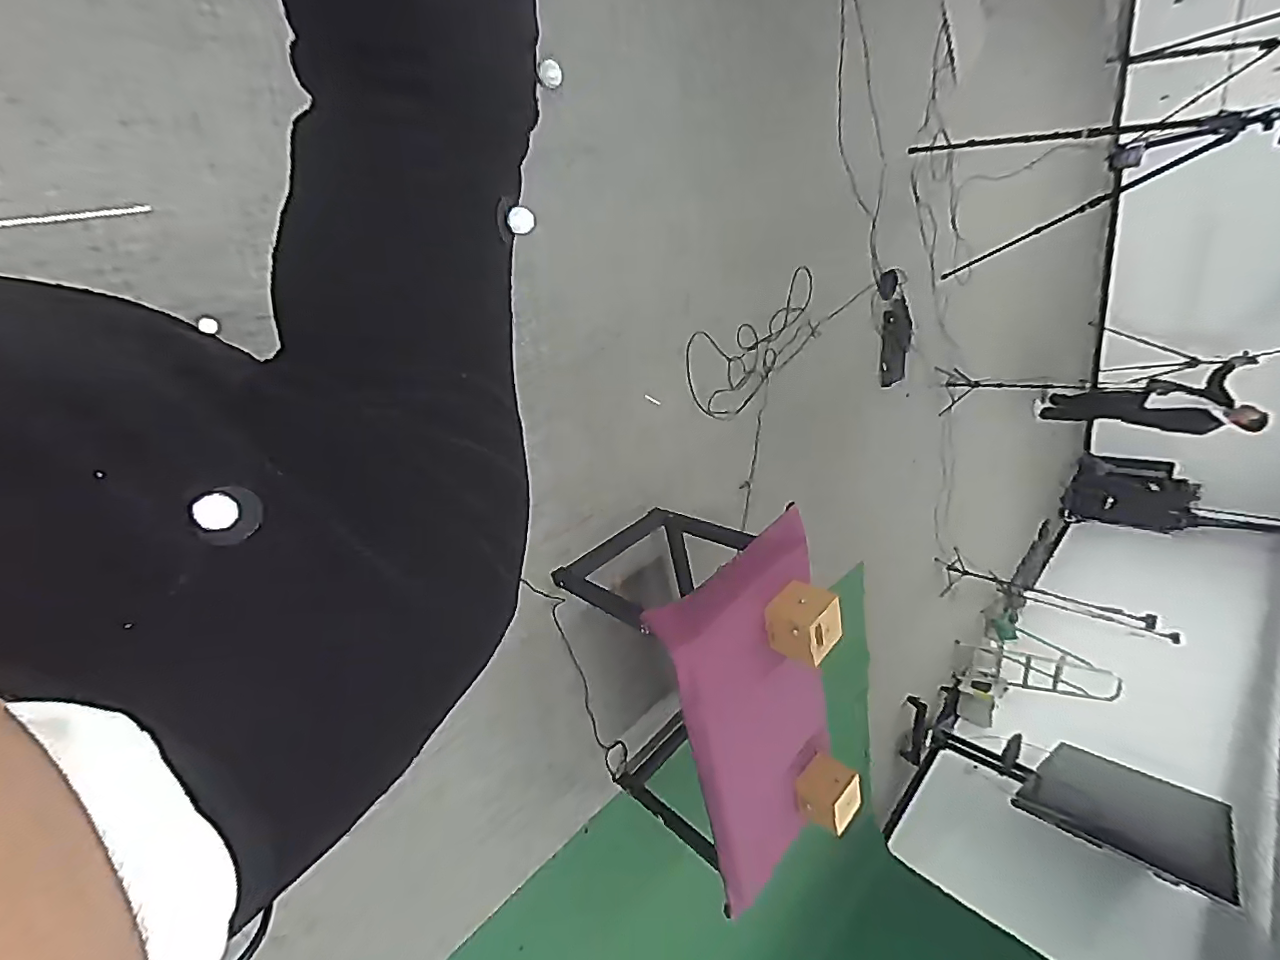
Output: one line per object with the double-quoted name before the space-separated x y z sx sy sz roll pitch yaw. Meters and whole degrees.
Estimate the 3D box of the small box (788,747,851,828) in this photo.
"small box" 0.697 1.186 2.102 0.179 0.176 0.168 -28 115 -36
